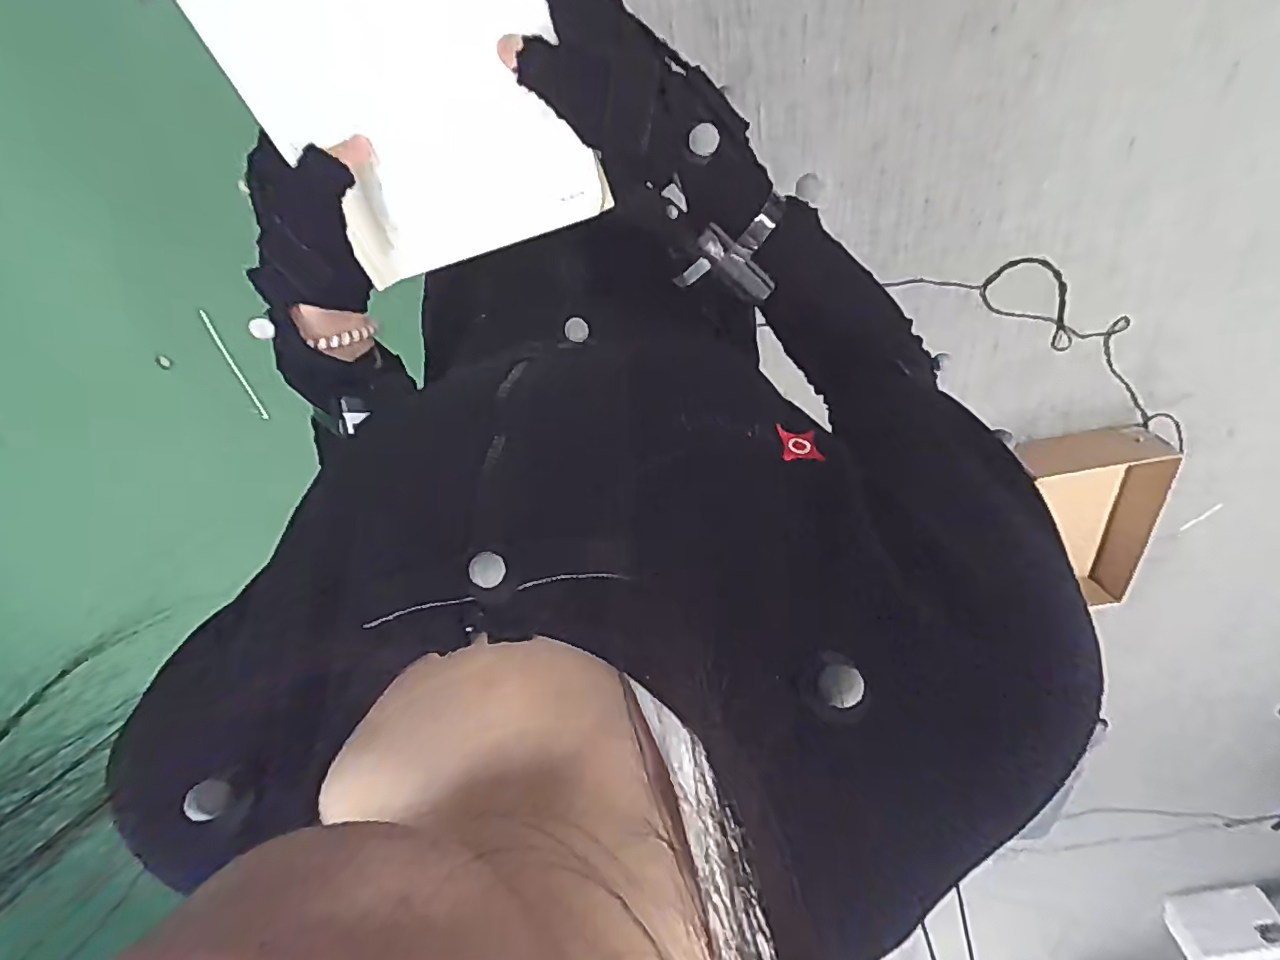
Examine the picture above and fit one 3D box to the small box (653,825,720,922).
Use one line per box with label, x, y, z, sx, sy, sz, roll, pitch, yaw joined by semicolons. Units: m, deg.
small box;0.126;1.060;1.459;0.168;0.176;0.179;-6;124;2
